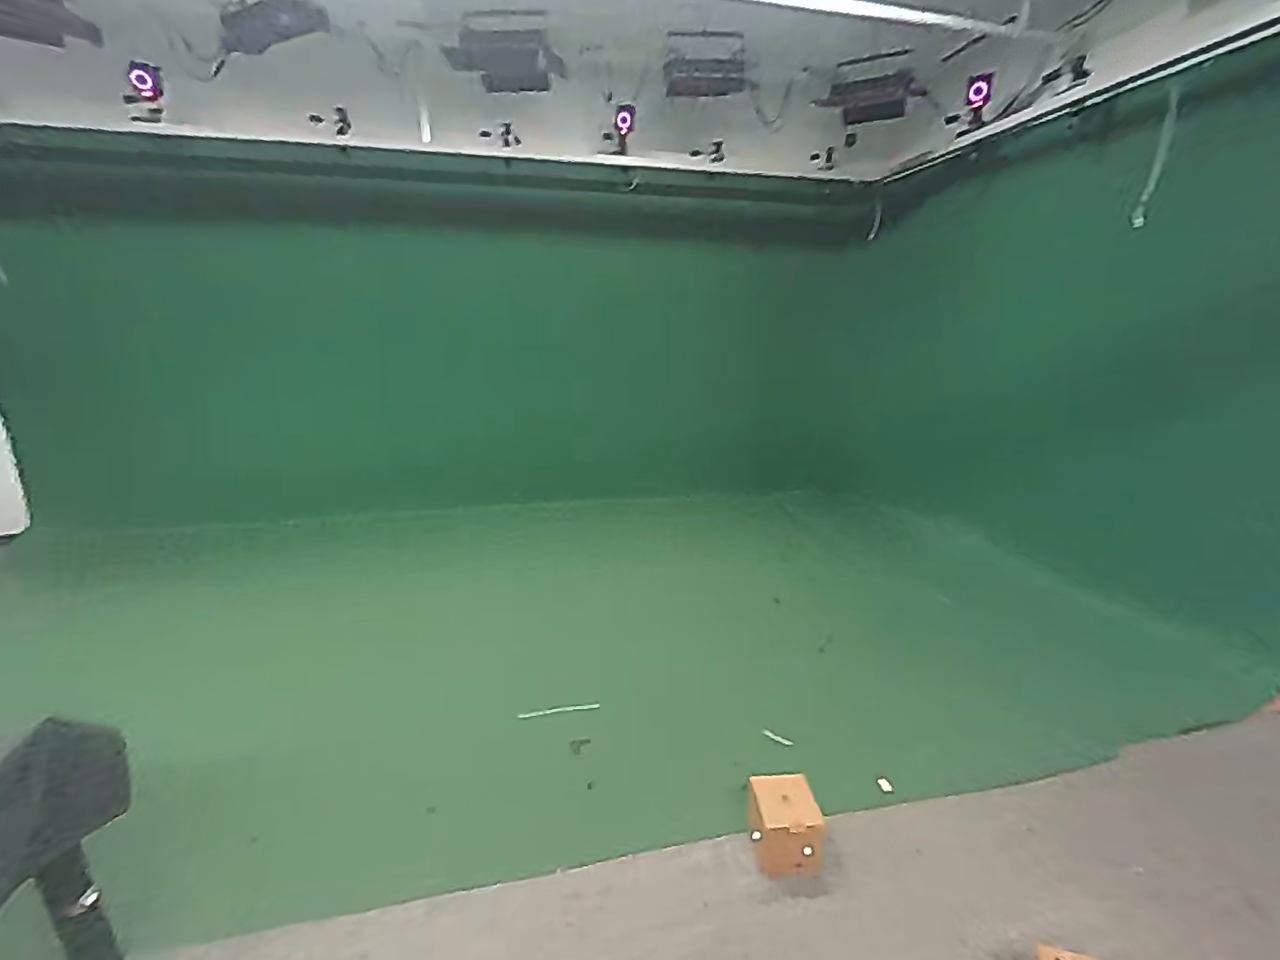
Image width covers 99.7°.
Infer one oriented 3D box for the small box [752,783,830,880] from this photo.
[{"bbox_3d":[0.424,1.003,1.539,0.168,0.176,0.179,0,15,-4],"label":"small box"}]
